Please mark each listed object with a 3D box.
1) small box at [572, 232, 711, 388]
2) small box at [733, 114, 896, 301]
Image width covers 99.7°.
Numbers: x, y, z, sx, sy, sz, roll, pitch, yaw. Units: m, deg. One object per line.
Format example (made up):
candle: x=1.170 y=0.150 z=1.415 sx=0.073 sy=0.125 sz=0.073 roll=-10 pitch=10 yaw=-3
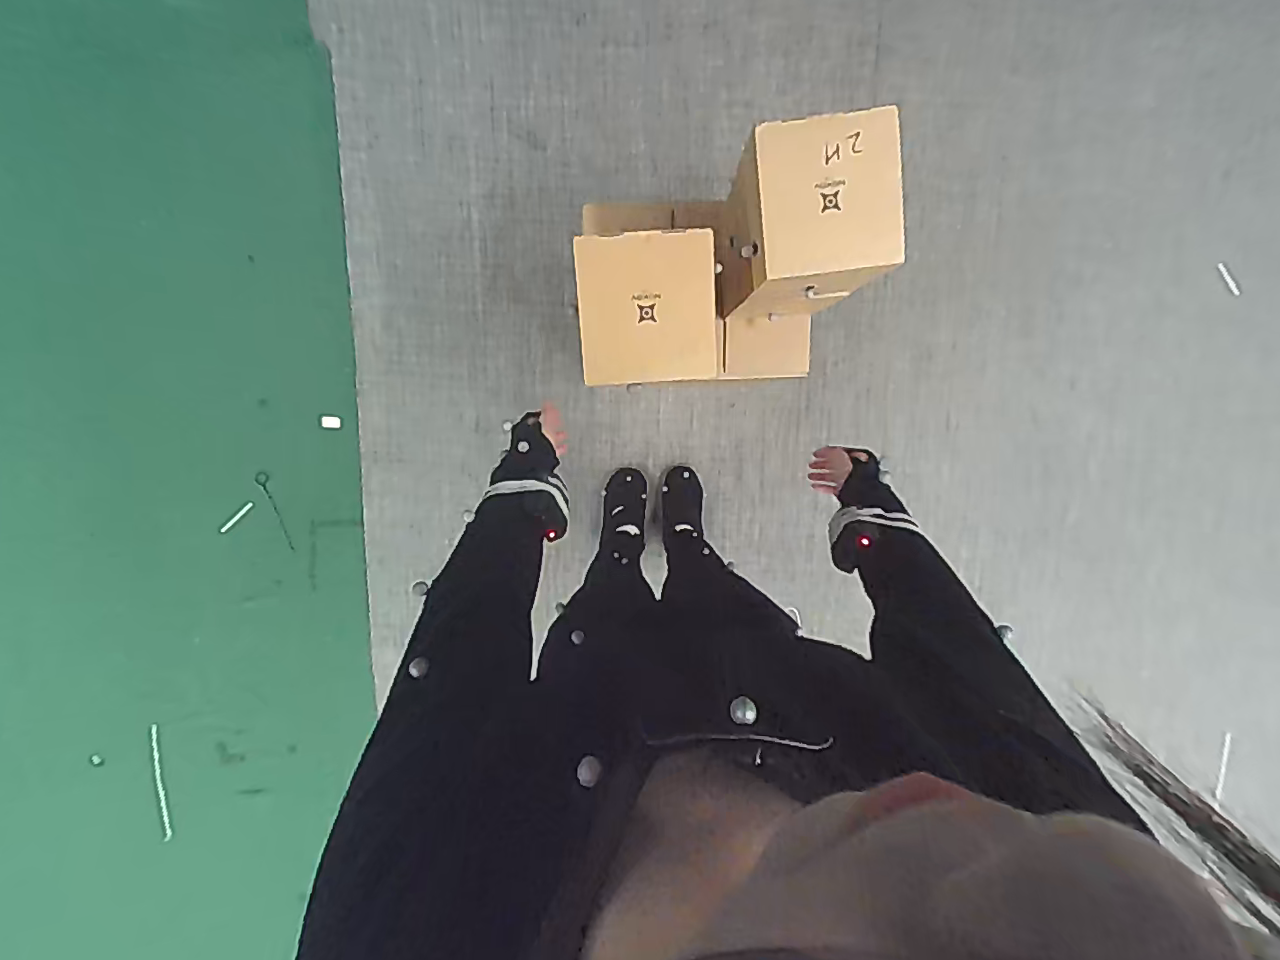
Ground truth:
small box: x=0.004 y=-0.221 z=0.735 sx=0.168 sy=0.176 sz=0.179 roll=-4 pitch=101 yaw=-1
small box: x=0.220 y=-0.342 z=0.715 sx=0.168 sy=0.176 sz=0.179 roll=-6 pitch=98 yaw=2
